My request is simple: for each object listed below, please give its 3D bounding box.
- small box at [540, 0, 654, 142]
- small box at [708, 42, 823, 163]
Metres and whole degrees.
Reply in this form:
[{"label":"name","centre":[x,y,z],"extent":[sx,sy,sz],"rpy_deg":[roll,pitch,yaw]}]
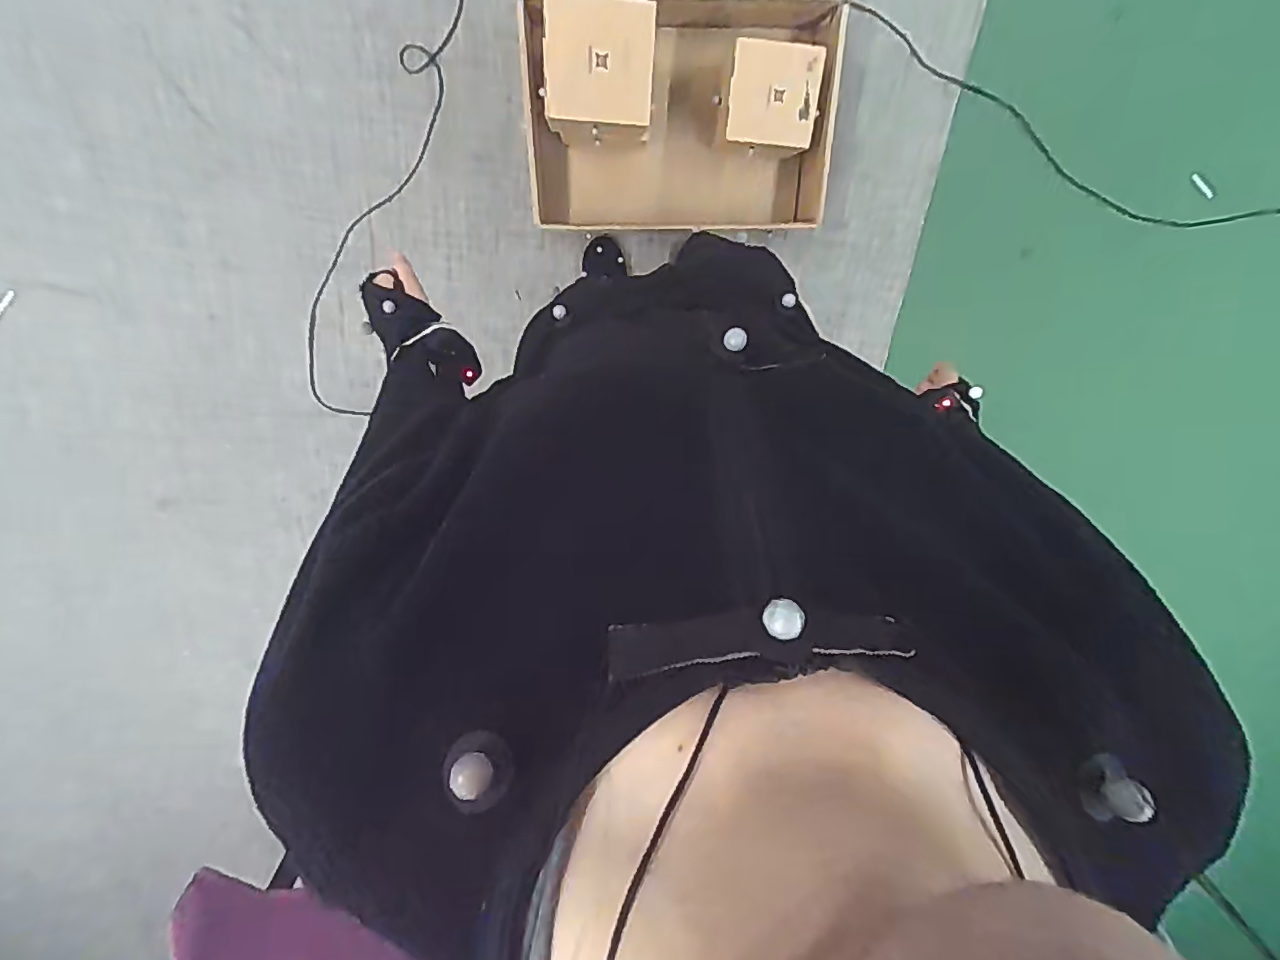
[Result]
[{"label":"small box","centre":[-0.076,-0.693,0.929],"extent":[0.179,0.176,0.168],"rpy_deg":[2,115,-7]},{"label":"small box","centre":[0.244,-0.759,1.106],"extent":[0.179,0.176,0.168],"rpy_deg":[3,114,-6]}]
